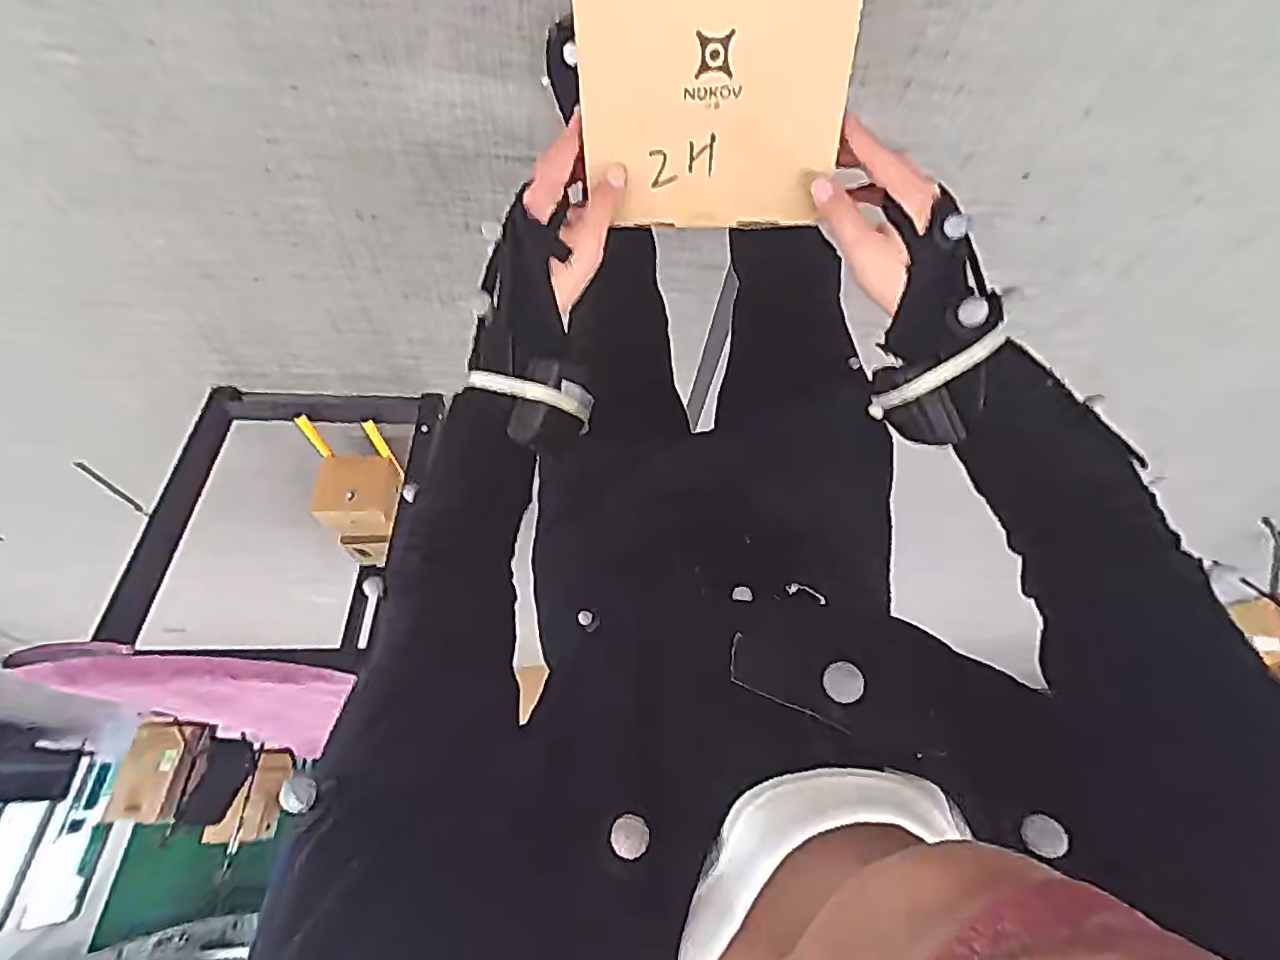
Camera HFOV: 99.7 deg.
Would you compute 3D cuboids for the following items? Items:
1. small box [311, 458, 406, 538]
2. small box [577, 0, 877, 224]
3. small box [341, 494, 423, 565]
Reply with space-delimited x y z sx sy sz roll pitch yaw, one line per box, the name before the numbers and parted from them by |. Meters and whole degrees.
small box | -0.771 0.049 1.501 0.179 0.176 0.168 -1 150 -6
small box | 0.053 -0.290 0.372 0.168 0.176 0.179 2 130 5
small box | -0.792 0.153 1.679 0.179 0.176 0.168 -2 150 -7
